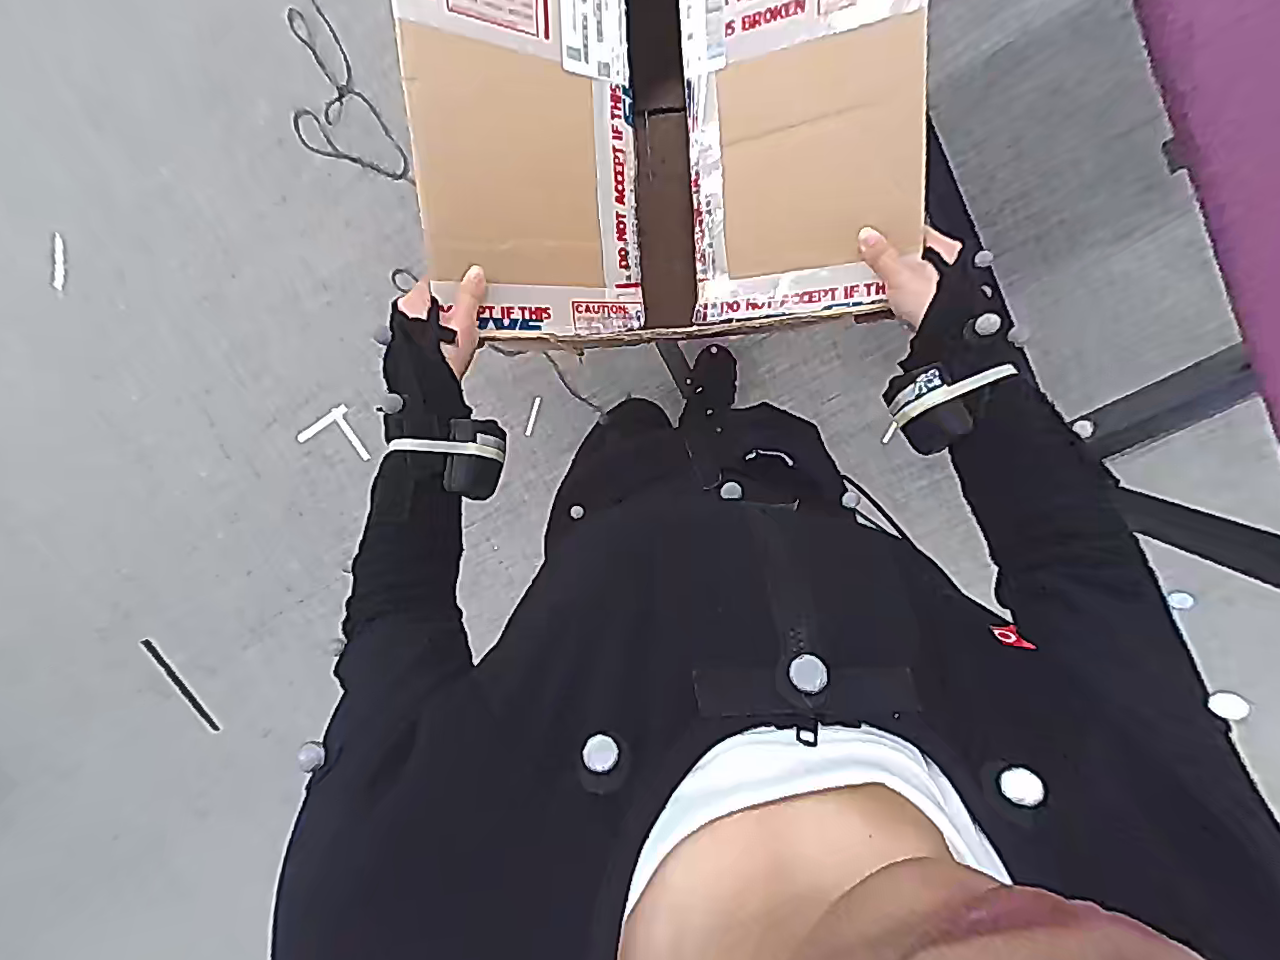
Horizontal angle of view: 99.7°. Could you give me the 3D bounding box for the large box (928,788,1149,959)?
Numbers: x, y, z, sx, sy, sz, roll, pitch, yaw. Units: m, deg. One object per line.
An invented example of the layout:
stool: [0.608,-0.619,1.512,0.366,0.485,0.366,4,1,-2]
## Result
large box: [1.037,1.117,1.408,0.320,0.320,0.408,-29,98,11]
